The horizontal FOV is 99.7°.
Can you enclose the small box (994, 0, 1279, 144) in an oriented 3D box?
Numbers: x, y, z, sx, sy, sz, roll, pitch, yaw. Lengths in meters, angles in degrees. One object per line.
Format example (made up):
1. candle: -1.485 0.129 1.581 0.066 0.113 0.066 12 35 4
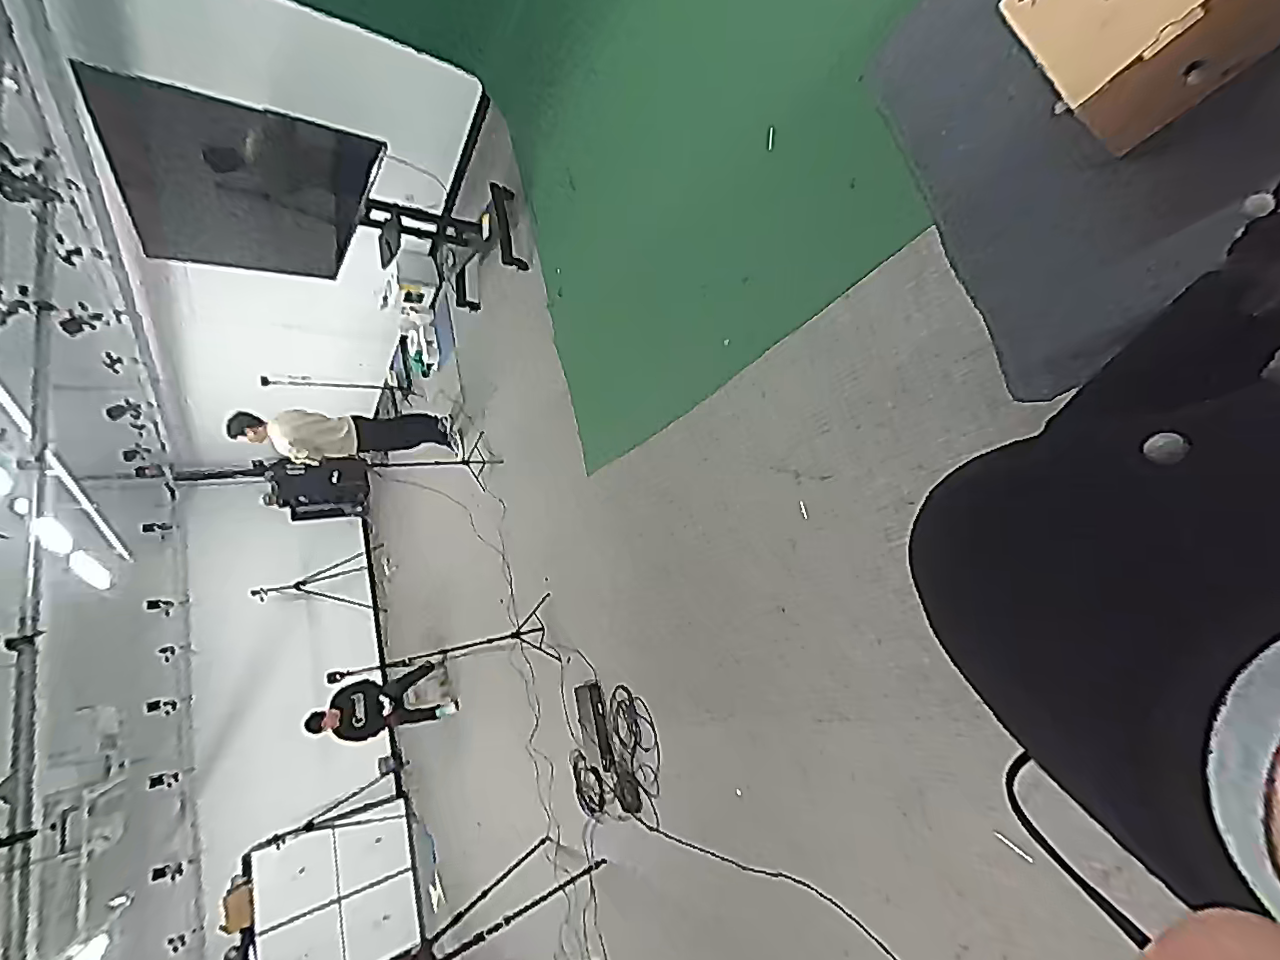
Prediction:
1. small box: 0.537 -0.502 0.584 0.168 0.176 0.179 -37 64 48
